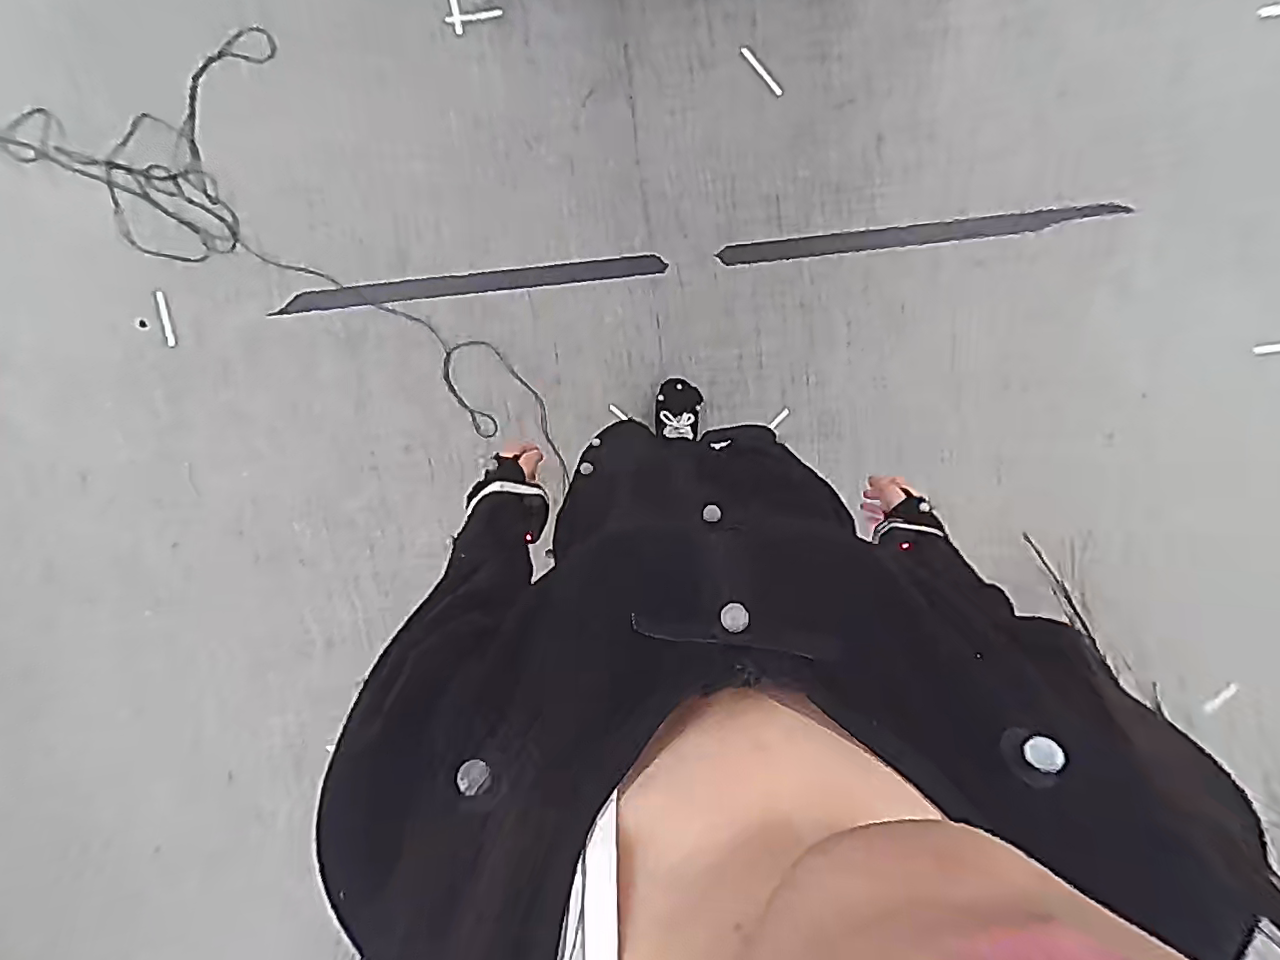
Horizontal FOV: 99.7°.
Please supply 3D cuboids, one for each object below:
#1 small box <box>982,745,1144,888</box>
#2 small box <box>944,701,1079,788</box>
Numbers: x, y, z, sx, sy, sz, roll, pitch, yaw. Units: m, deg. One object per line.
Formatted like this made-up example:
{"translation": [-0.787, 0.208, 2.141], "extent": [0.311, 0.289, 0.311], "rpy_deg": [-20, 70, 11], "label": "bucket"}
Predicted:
{"translation": [0.895, 0.711, 1.166], "extent": [0.179, 0.176, 0.168], "rpy_deg": [34, 100, -6], "label": "small box"}
{"translation": [0.899, 0.677, 1.328], "extent": [0.179, 0.176, 0.168], "rpy_deg": [35, 100, -7], "label": "small box"}
